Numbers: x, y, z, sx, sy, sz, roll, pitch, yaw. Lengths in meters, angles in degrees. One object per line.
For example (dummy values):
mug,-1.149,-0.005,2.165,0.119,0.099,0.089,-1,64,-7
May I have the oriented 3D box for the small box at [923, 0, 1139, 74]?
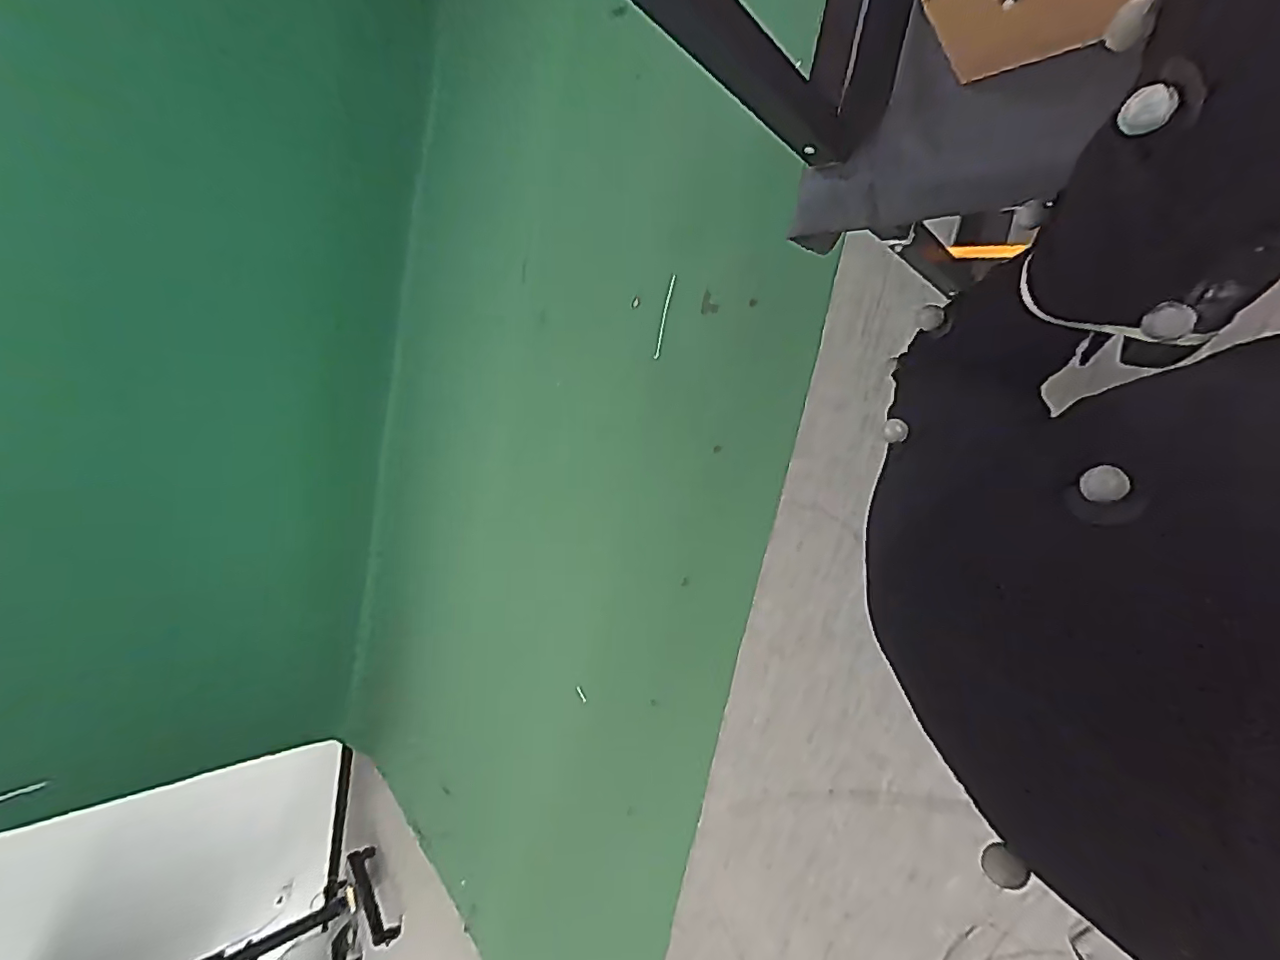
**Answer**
small box,0.441,-0.596,0.593,0.179,0.176,0.168,13,98,43
